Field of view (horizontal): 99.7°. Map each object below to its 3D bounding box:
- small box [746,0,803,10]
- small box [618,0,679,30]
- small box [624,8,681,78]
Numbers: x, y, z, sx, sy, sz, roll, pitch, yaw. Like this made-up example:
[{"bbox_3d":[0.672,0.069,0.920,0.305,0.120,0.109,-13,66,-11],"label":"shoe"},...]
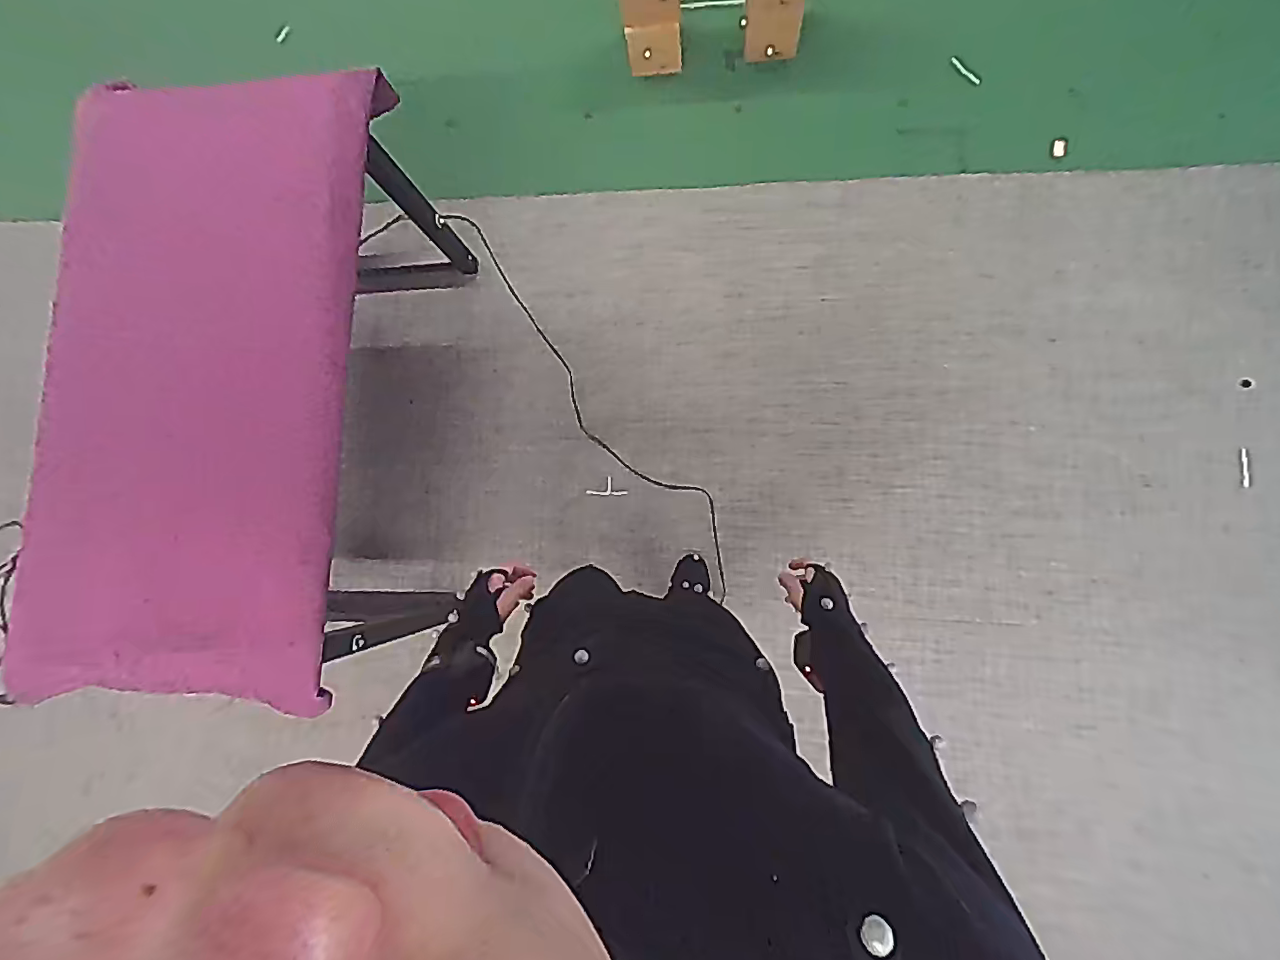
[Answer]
[{"bbox_3d":[0.388,-1.472,1.520,0.168,0.176,0.179,2,86,7],"label":"small box"},{"bbox_3d":[0.022,-1.464,1.572,0.179,0.176,0.168,-2,82,8],"label":"small box"},{"bbox_3d":[0.044,-1.430,1.730,0.168,0.176,0.179,-2,83,8],"label":"small box"}]
